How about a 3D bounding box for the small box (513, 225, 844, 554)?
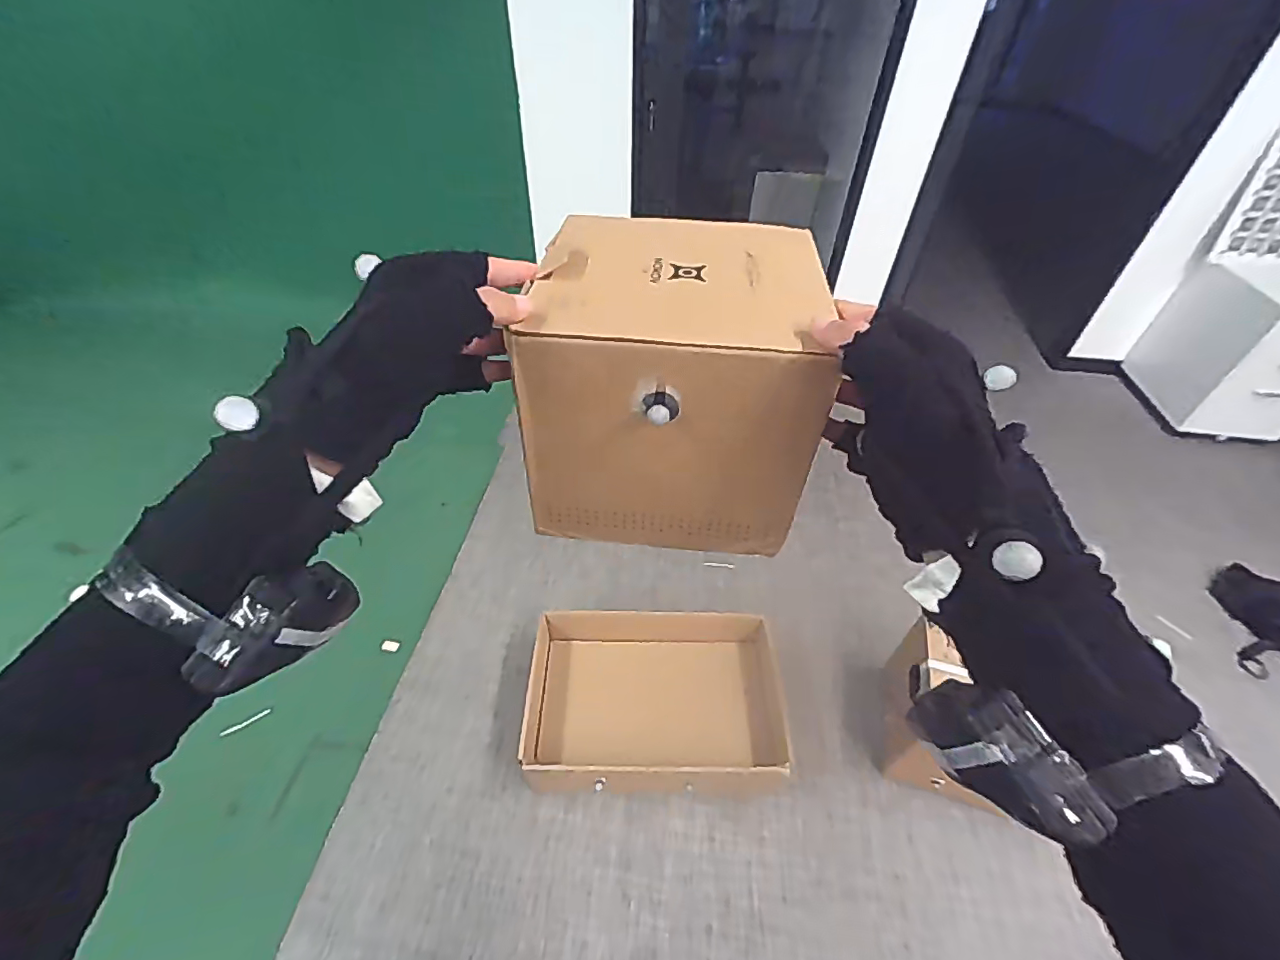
[{"bbox_3d":[0.024,-0.064,0.390,0.179,0.176,0.168,6,45,2],"label":"small box"}]
